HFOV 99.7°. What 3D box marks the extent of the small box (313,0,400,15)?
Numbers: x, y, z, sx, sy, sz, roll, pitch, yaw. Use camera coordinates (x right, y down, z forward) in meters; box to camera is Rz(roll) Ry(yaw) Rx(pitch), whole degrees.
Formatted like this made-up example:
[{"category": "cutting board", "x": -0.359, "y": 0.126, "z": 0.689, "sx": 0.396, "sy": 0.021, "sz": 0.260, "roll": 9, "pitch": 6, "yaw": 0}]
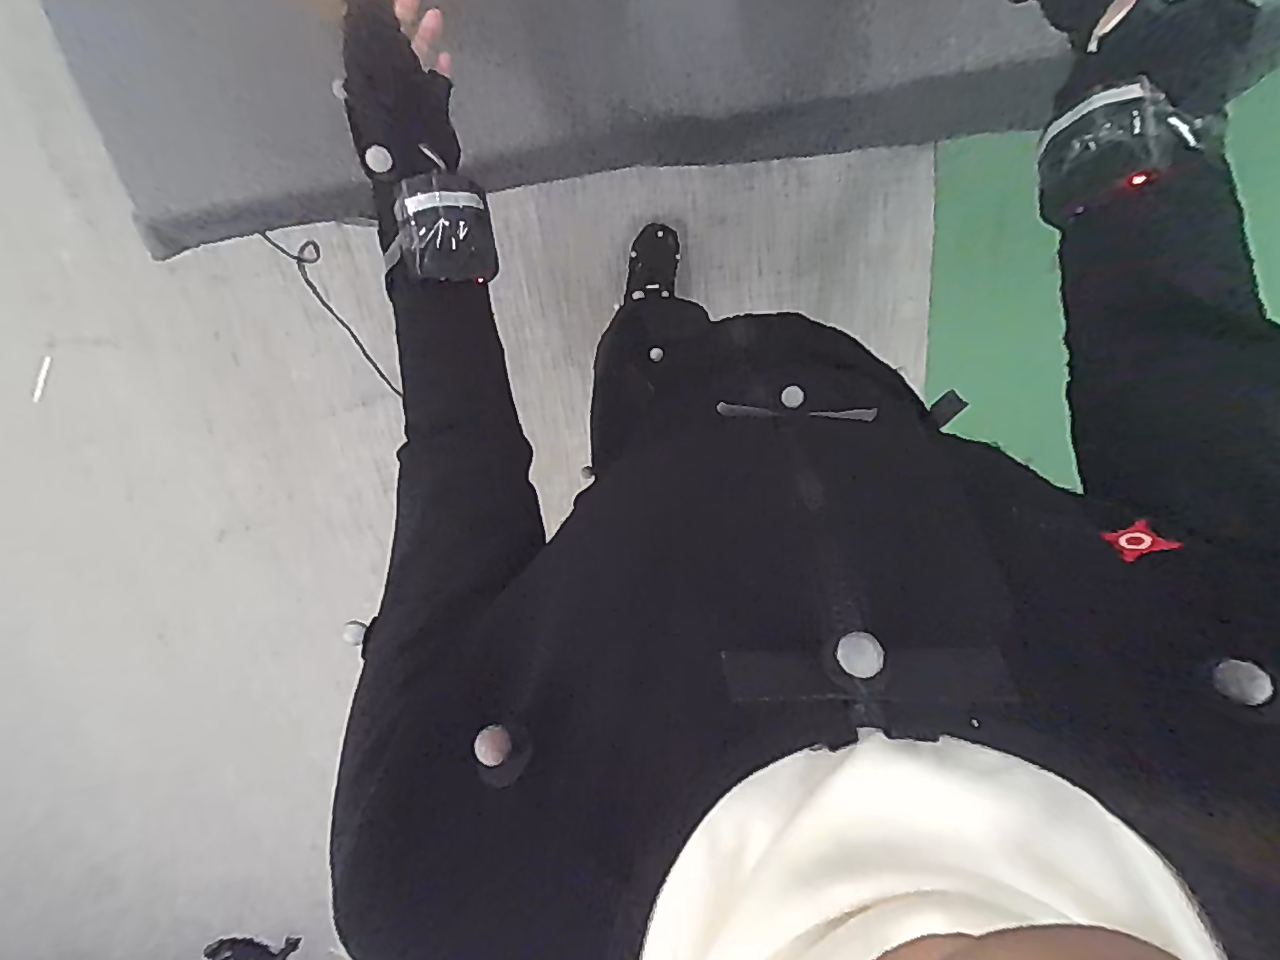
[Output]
[{"category": "small box", "x": -0.236, "y": -0.505, "z": 0.415, "sx": 0.168, "sy": 0.176, "sz": 0.179, "roll": -13, "pitch": 110, "yaw": 5}]
